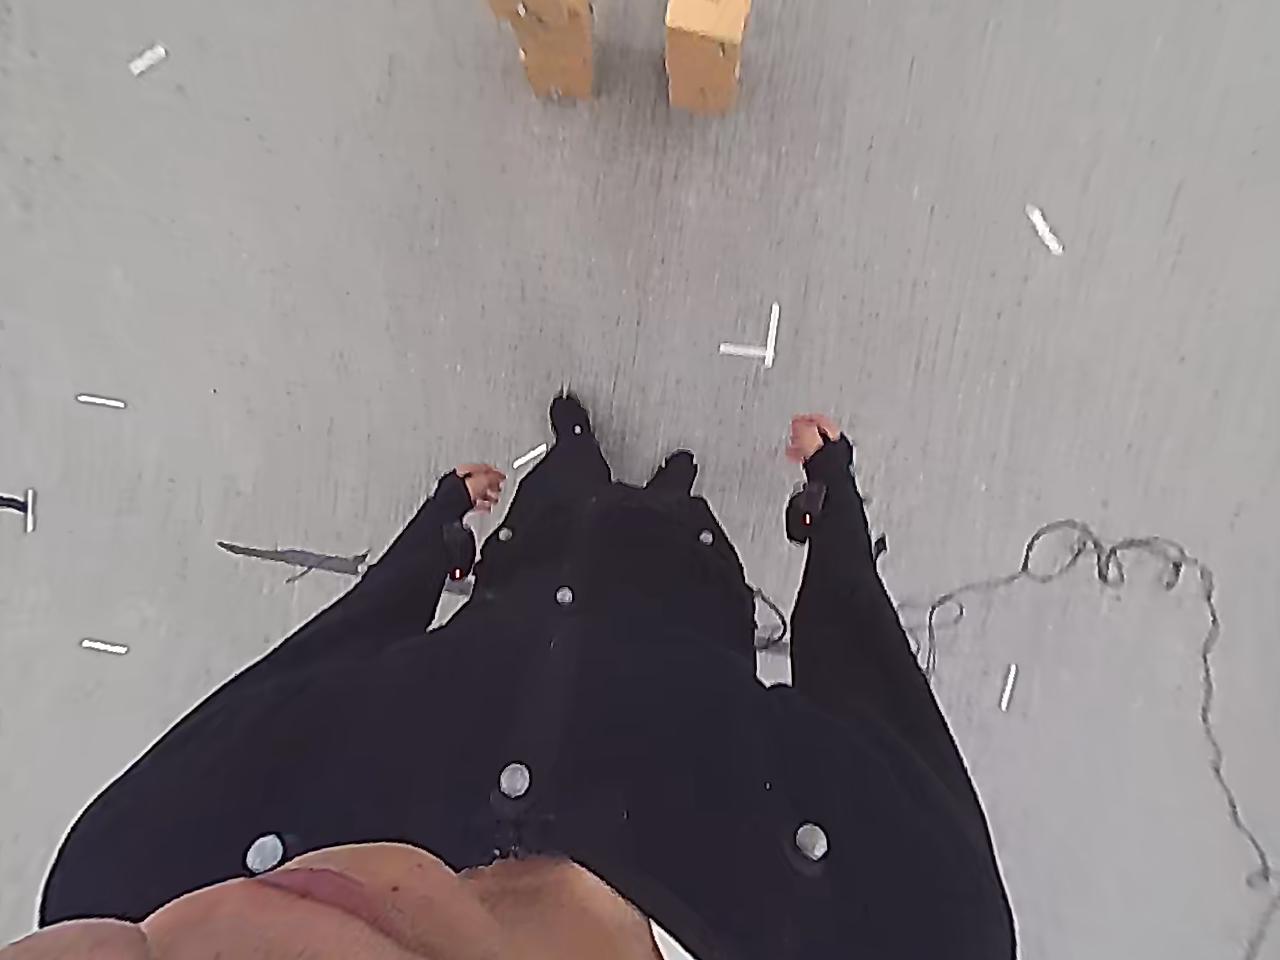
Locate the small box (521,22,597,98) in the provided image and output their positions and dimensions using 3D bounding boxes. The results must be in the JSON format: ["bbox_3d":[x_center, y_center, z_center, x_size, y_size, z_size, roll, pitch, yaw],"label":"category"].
[{"bbox_3d":[-0.207,-1.153,1.423,0.168,0.176,0.179,5,97,3],"label":"small box"}]

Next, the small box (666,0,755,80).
[{"bbox_3d":[0.163,-1.069,1.248,0.179,0.176,0.168,14,97,1],"label":"small box"}]

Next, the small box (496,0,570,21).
[{"bbox_3d":[-0.232,-1.095,1.101,0.168,0.176,0.179,8,98,4],"label":"small box"}]

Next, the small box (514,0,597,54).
[{"bbox_3d":[-0.204,-1.135,1.260,0.179,0.176,0.168,4,97,3],"label":"small box"}]
